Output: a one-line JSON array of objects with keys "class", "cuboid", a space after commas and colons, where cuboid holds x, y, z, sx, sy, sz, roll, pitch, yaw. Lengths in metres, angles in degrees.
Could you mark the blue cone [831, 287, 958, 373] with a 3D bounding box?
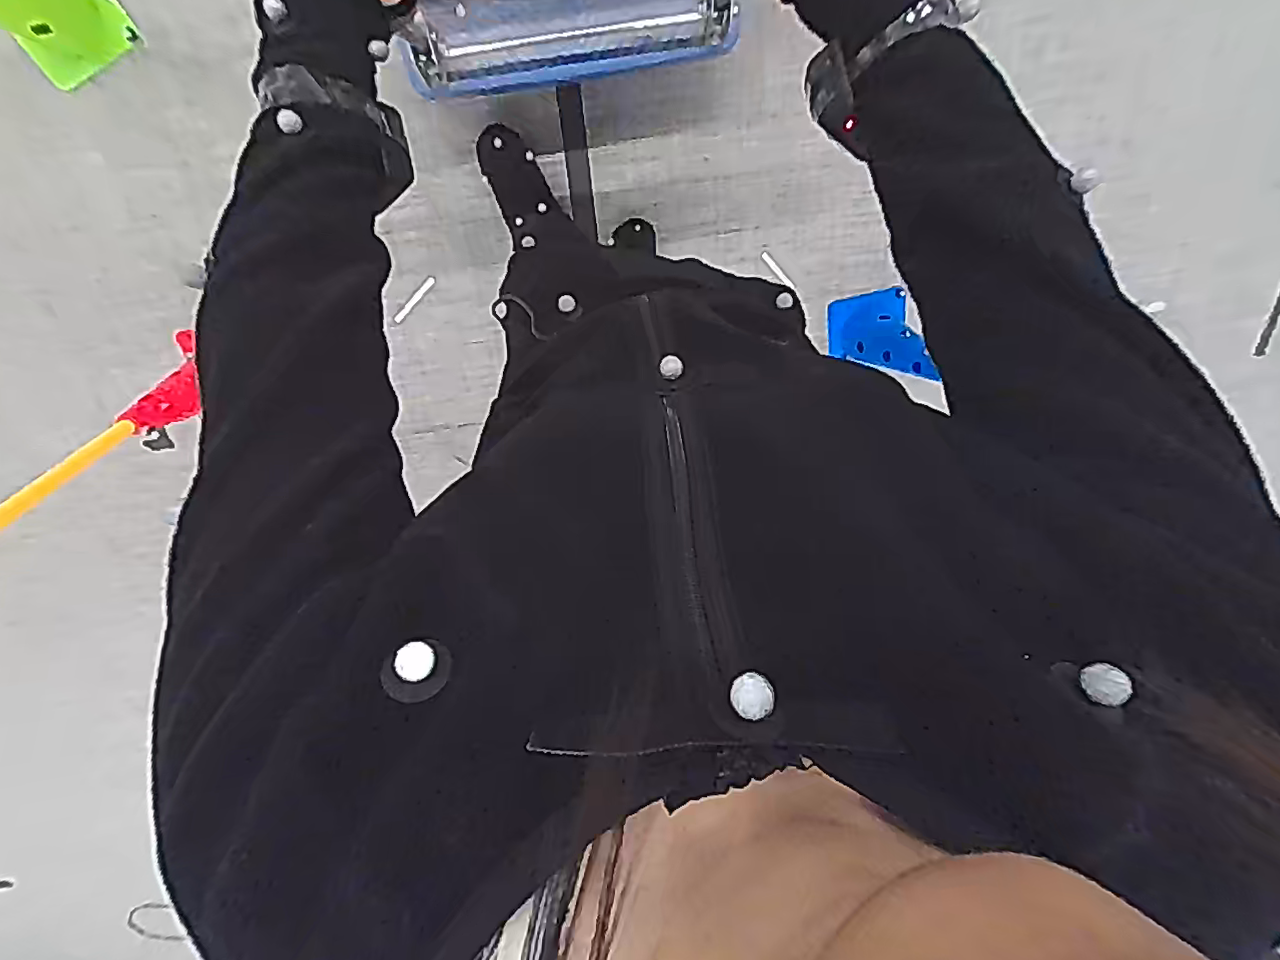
[{"class": "blue cone", "cuboid": [0.601, -0.308, 1.242, 0.193, 0.380, 0.192, -11, 118, 0]}]
